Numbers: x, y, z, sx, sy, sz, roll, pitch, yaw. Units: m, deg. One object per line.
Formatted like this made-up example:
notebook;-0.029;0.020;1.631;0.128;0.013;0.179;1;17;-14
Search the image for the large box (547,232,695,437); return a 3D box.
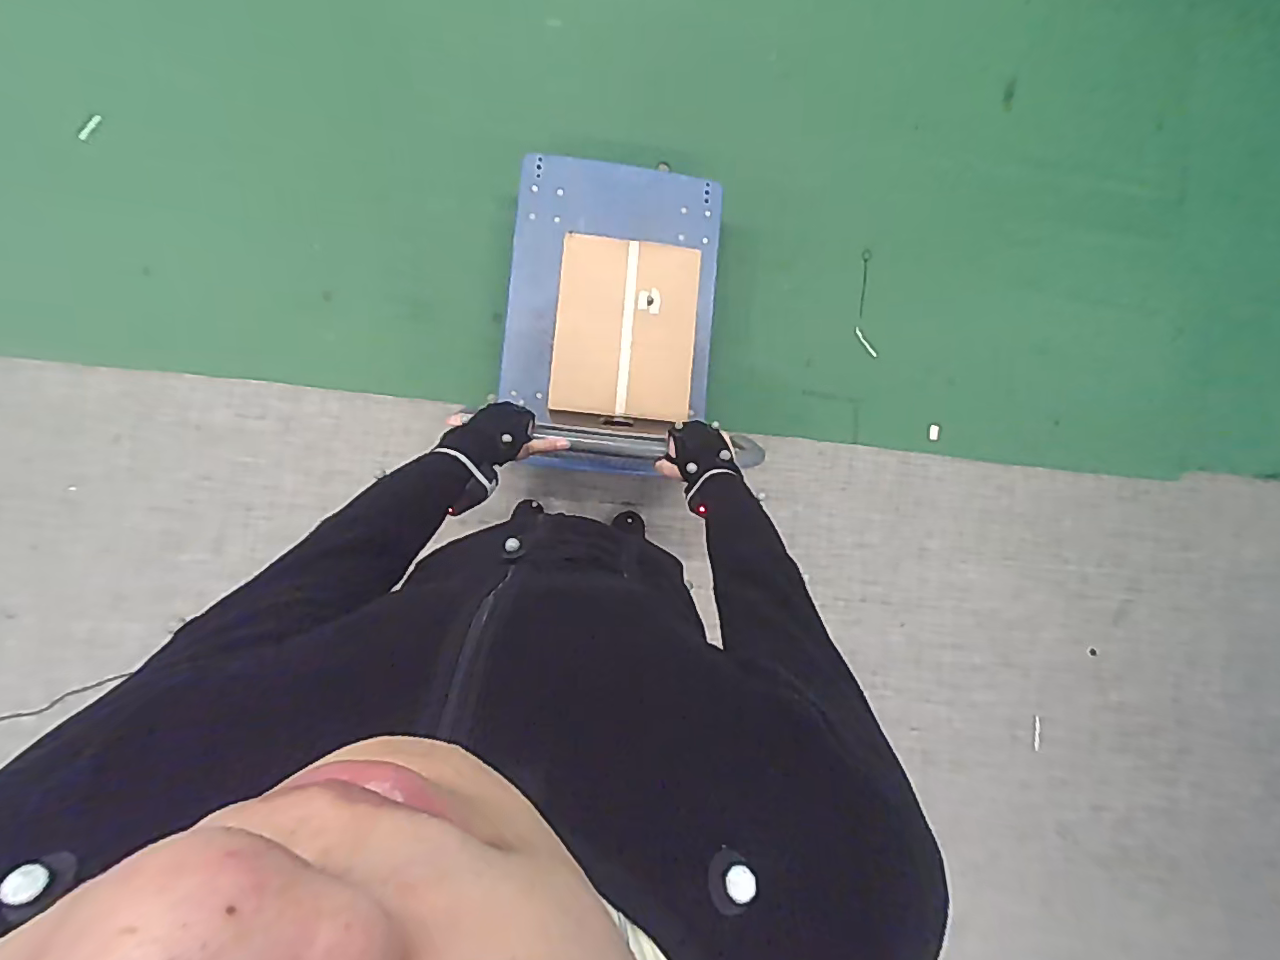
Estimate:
large box;-0.053;-0.334;1.352;0.320;0.320;0.408;5;85;-7
